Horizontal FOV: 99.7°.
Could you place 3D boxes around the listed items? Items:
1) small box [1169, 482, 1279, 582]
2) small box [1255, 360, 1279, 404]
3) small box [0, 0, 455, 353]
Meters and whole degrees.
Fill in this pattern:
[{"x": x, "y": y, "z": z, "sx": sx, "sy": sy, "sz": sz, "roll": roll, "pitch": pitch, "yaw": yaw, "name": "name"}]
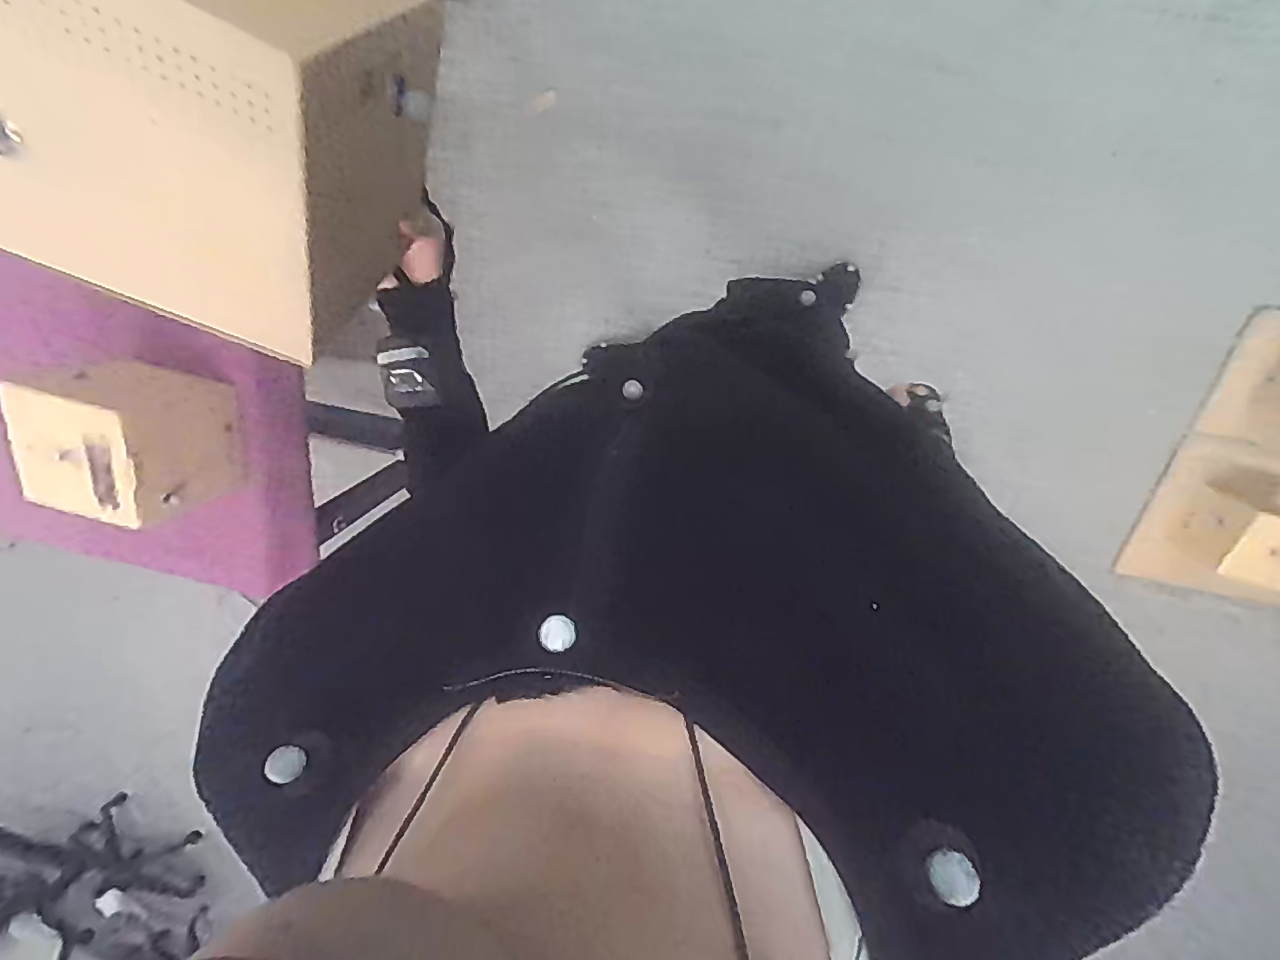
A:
[{"x": 1.457, "y": 0.119, "z": 1.301, "sx": 0.179, "sy": 0.176, "sz": 0.168, "roll": 14, "pitch": 113, "yaw": 2, "name": "small box"}, {"x": 1.518, "y": -0.219, "z": 1.159, "sx": 0.179, "sy": 0.176, "sz": 0.168, "roll": 15, "pitch": 114, "yaw": 2, "name": "small box"}, {"x": -0.213, "y": -0.207, "z": 0.283, "sx": 0.179, "sy": 0.168, "sz": 0.176, "roll": 21, "pitch": 139, "yaw": -15, "name": "small box"}]
